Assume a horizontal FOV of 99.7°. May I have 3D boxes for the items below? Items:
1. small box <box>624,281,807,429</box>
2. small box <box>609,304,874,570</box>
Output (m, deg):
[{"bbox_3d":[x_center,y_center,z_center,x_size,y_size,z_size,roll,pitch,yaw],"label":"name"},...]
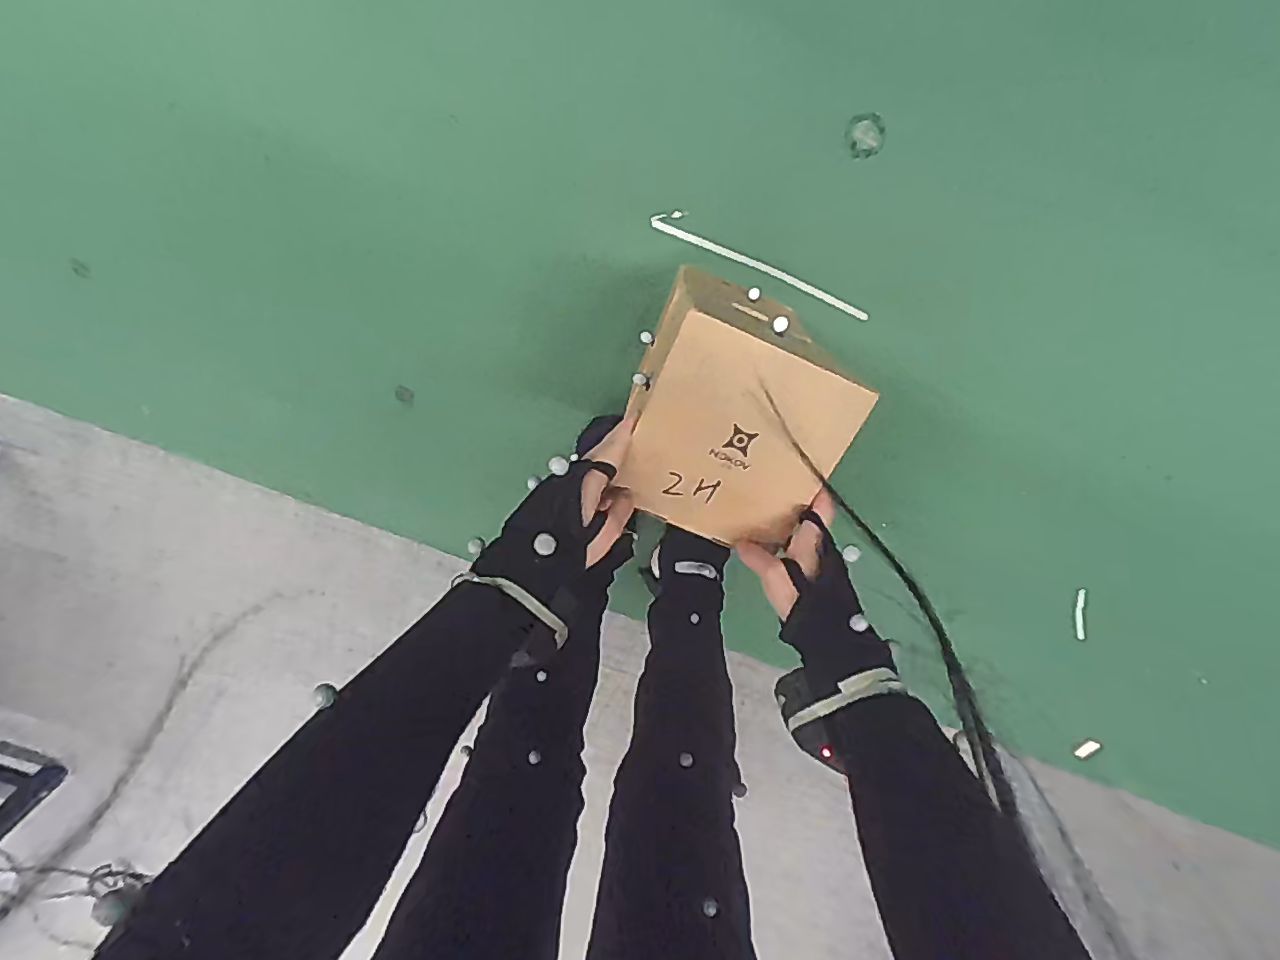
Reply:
[{"bbox_3d":[0.094,-0.138,0.708,0.168,0.176,0.179,22,117,-5],"label":"small box"},{"bbox_3d":[0.083,-0.052,0.522,0.168,0.176,0.179,23,114,-7],"label":"small box"}]
